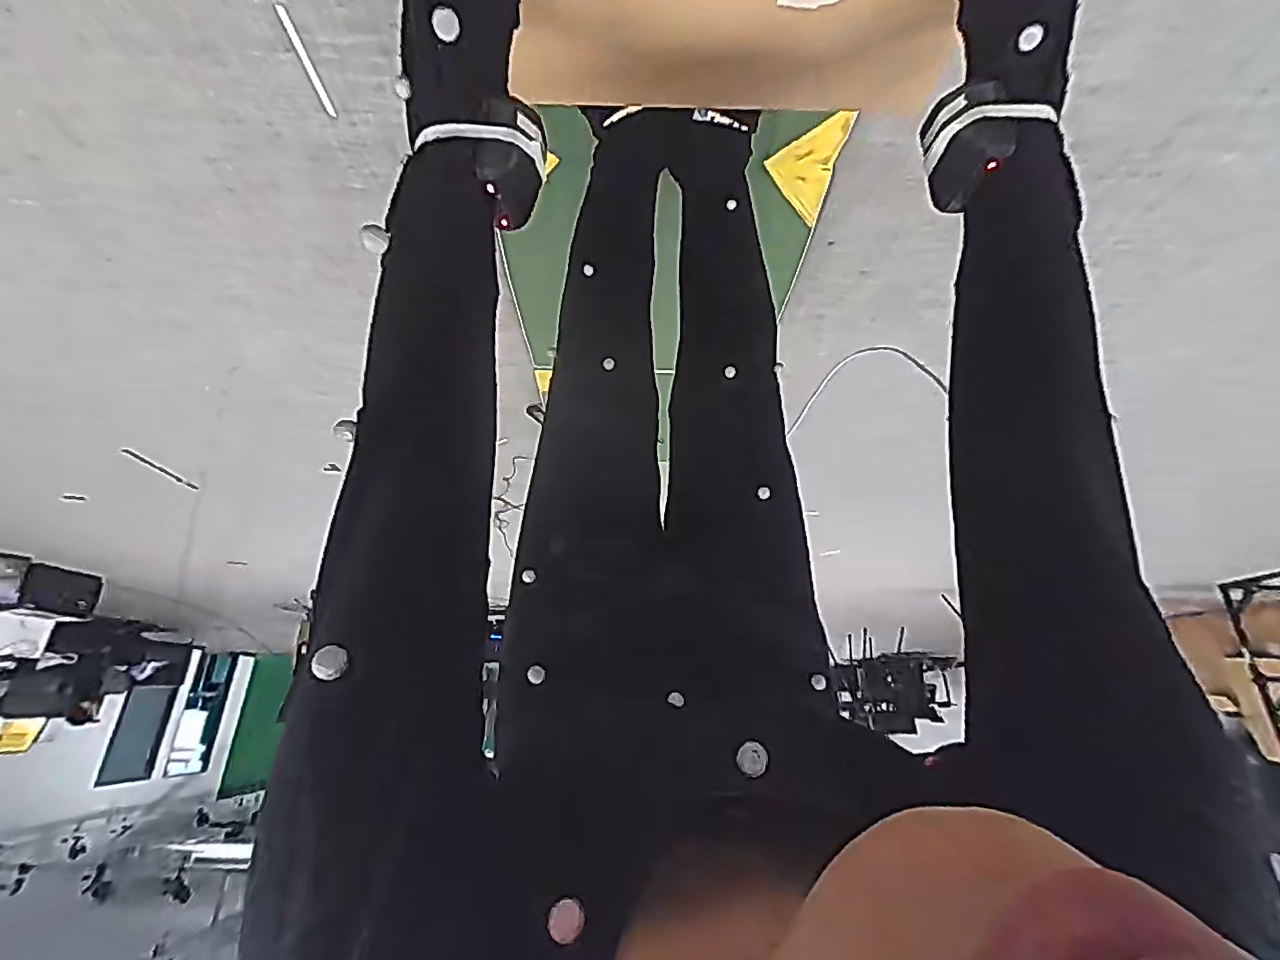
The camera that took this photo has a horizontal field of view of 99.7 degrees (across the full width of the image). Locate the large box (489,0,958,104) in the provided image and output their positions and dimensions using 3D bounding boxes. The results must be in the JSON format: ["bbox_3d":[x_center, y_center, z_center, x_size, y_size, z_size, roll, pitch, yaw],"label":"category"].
[{"bbox_3d":[0.068,-0.566,0.448,0.408,0.320,0.320,0,157,-1],"label":"large box"}]
